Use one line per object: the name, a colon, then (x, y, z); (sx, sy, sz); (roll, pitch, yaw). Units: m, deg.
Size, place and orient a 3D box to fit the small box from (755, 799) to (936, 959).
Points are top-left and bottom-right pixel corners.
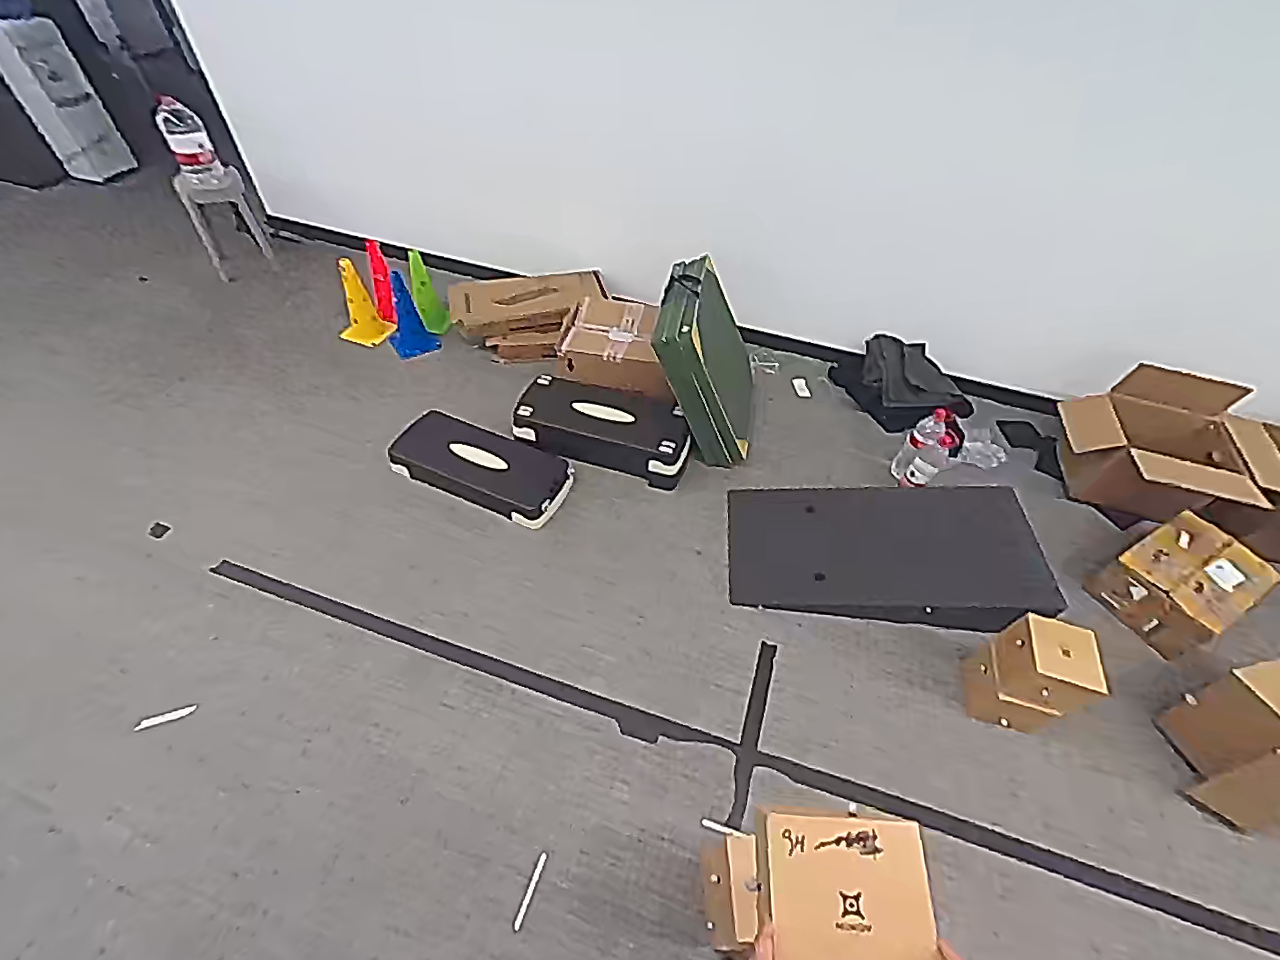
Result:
small box: (0.227, 0.489, 0.635); (0.168, 0.176, 0.179); (0, 63, 6)
